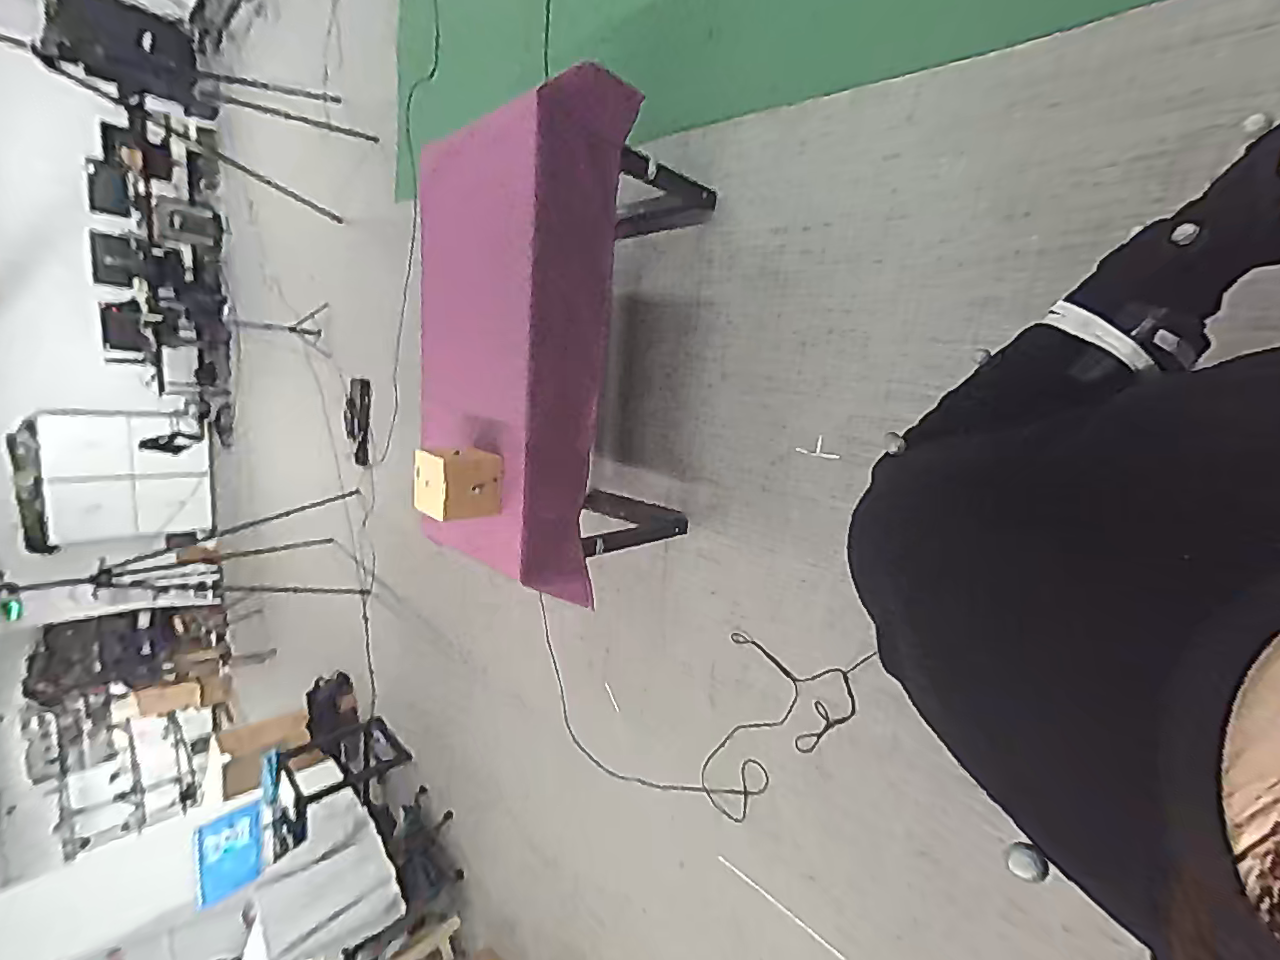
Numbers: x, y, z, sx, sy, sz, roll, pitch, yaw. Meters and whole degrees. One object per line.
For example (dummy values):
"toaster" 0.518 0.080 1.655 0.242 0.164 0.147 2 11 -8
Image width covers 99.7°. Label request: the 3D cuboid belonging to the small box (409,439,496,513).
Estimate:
"small box" -0.509 -0.020 1.471 0.179 0.176 0.168 17 105 40
